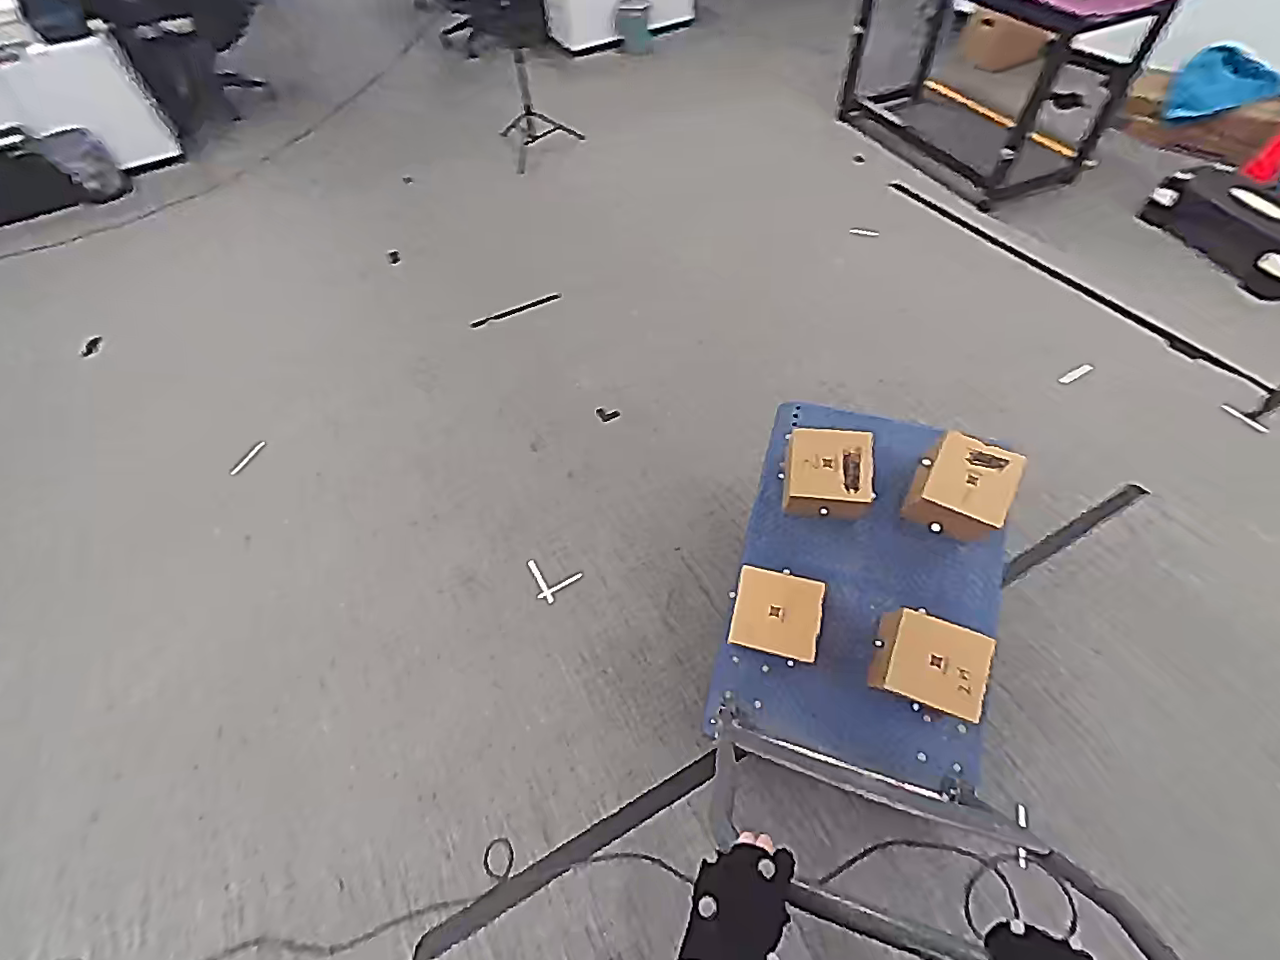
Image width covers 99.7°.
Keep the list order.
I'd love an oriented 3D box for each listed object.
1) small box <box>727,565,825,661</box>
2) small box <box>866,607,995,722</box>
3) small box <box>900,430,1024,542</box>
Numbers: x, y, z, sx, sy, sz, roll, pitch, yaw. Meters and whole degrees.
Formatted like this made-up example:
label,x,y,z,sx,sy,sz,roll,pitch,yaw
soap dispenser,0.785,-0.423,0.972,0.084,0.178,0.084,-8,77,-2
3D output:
label,x,y,z,sx,sy,sz,roll,pitch,yaw
small box,0.293,0.299,1.196,0.179,0.176,0.168,12,74,10
small box,0.591,0.381,1.124,0.179,0.176,0.168,19,76,14
small box,0.719,0.020,1.227,0.168,0.176,0.179,25,78,15
